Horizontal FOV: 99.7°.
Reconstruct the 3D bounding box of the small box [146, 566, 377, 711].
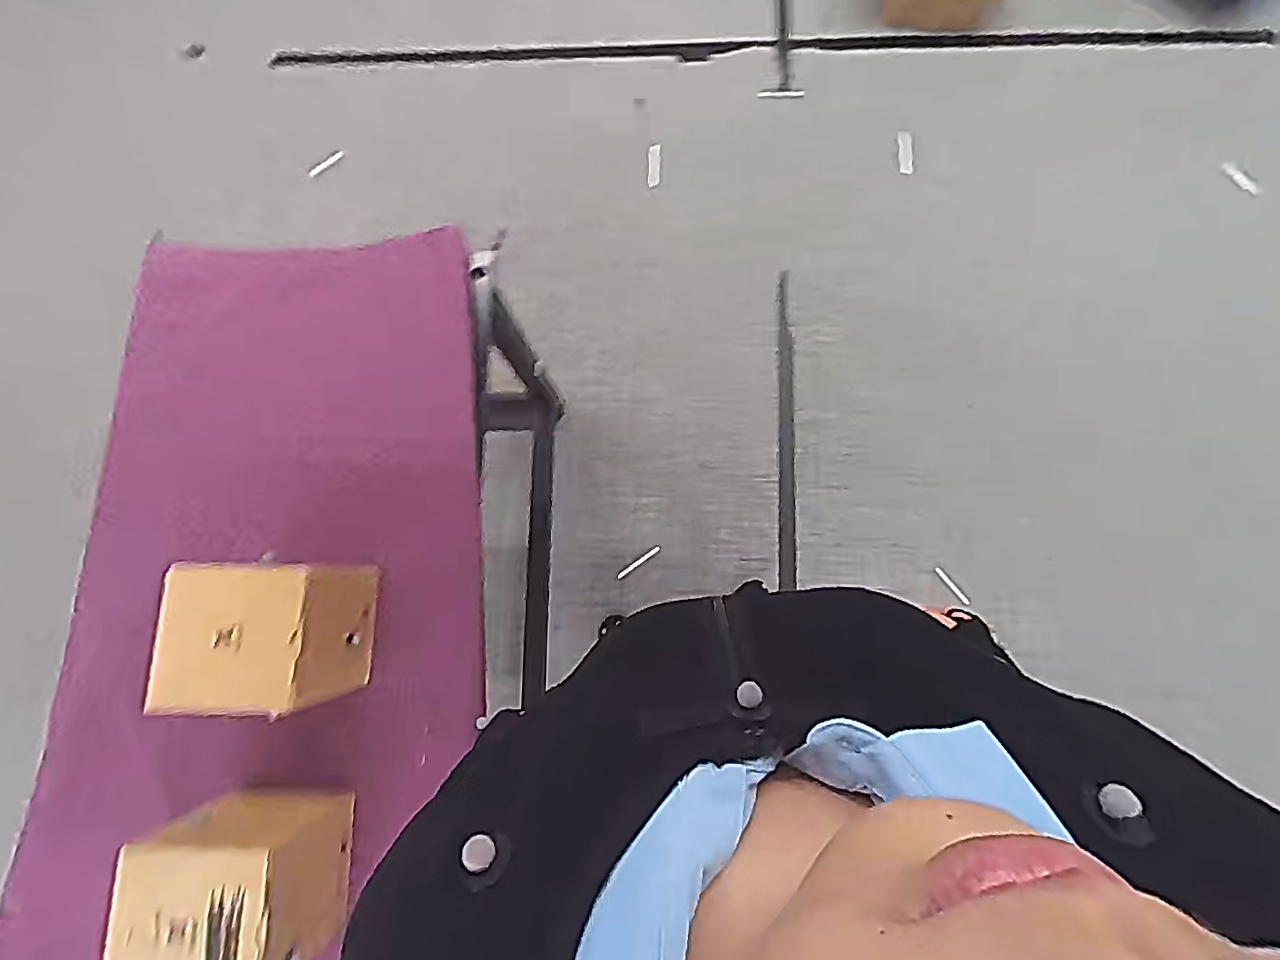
[{"bbox_3d":[-0.482,0.201,0.715,0.179,0.176,0.168,-1,79,2],"label":"small box"}]
